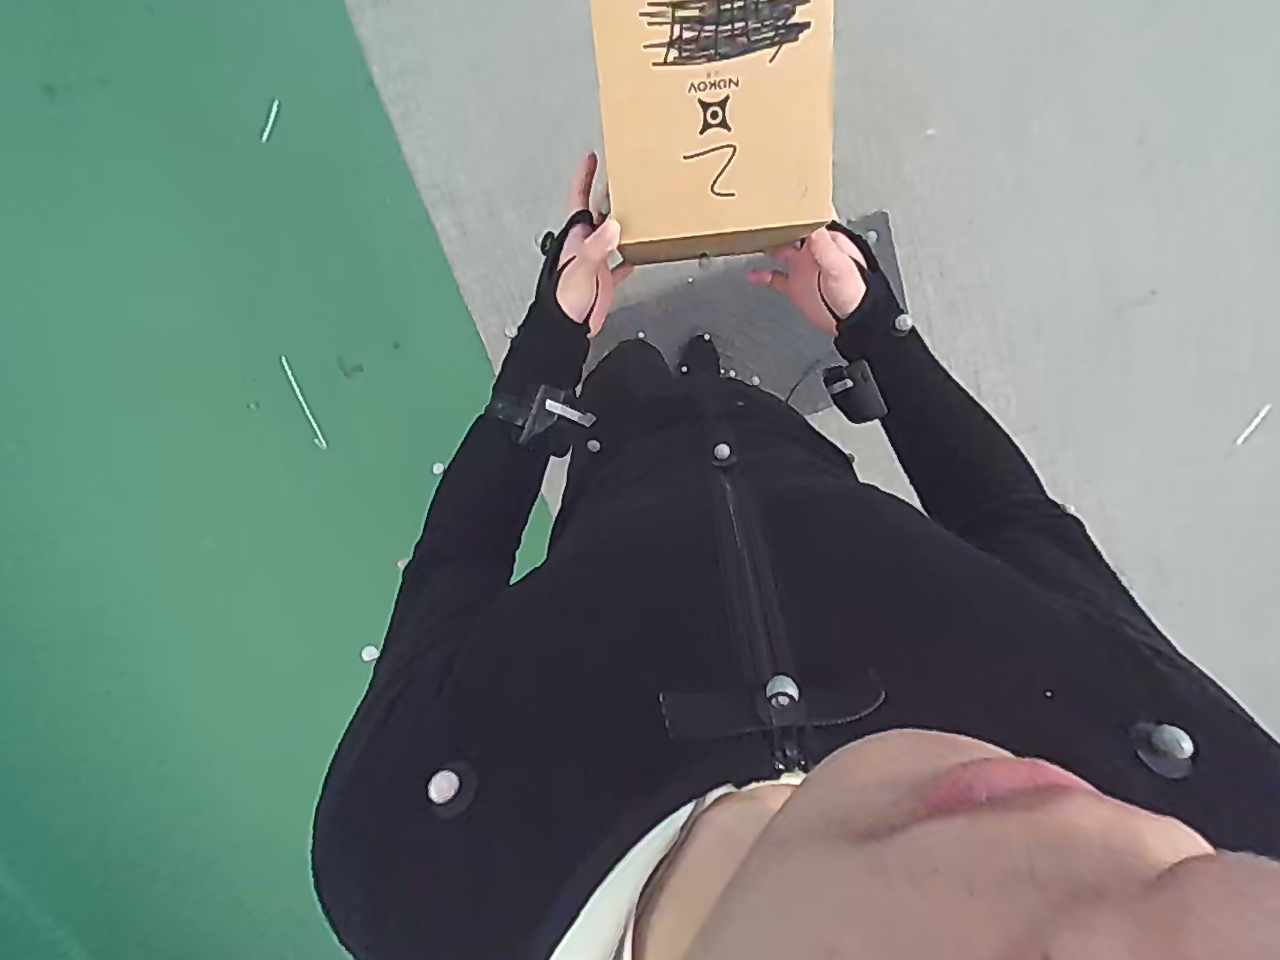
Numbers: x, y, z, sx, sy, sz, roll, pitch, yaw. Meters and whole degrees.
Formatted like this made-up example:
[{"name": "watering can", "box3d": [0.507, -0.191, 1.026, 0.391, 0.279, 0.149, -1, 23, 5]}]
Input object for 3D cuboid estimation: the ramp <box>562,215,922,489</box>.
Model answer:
[{"name": "ramp", "box3d": [0.321, -0.370, 1.589, 0.991, 0.206, 0.509, -20, 103, 8]}]
